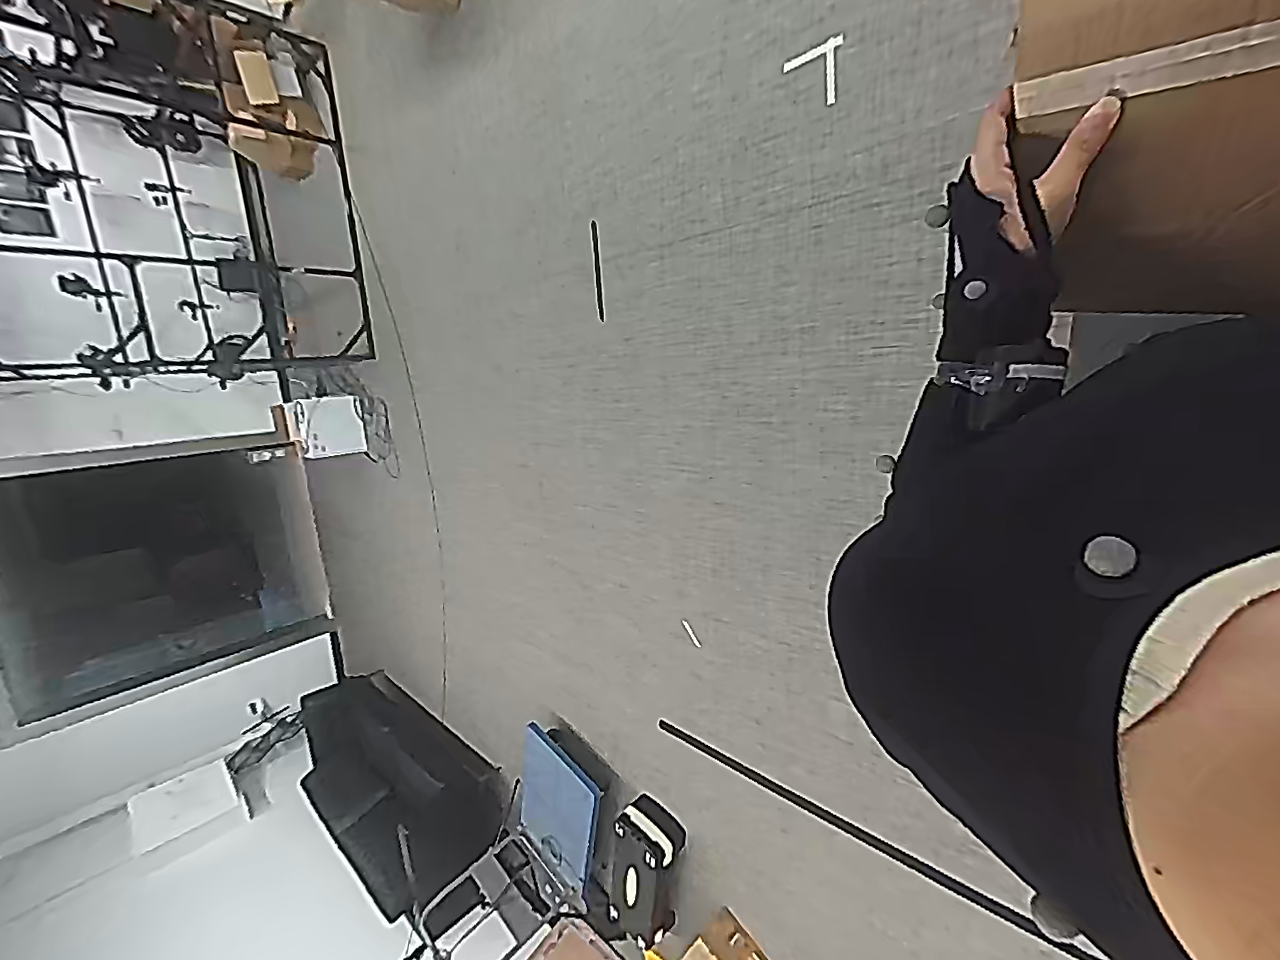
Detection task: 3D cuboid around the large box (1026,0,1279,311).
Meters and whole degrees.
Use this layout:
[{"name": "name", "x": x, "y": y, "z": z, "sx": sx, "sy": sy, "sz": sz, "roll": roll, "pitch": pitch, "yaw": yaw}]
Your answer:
[{"name": "large box", "x": 0.475, "y": -0.306, "z": 0.268, "sx": 0.408, "sy": 0.320, "sz": 0.320, "roll": 18, "pitch": 149, "yaw": 45}]
